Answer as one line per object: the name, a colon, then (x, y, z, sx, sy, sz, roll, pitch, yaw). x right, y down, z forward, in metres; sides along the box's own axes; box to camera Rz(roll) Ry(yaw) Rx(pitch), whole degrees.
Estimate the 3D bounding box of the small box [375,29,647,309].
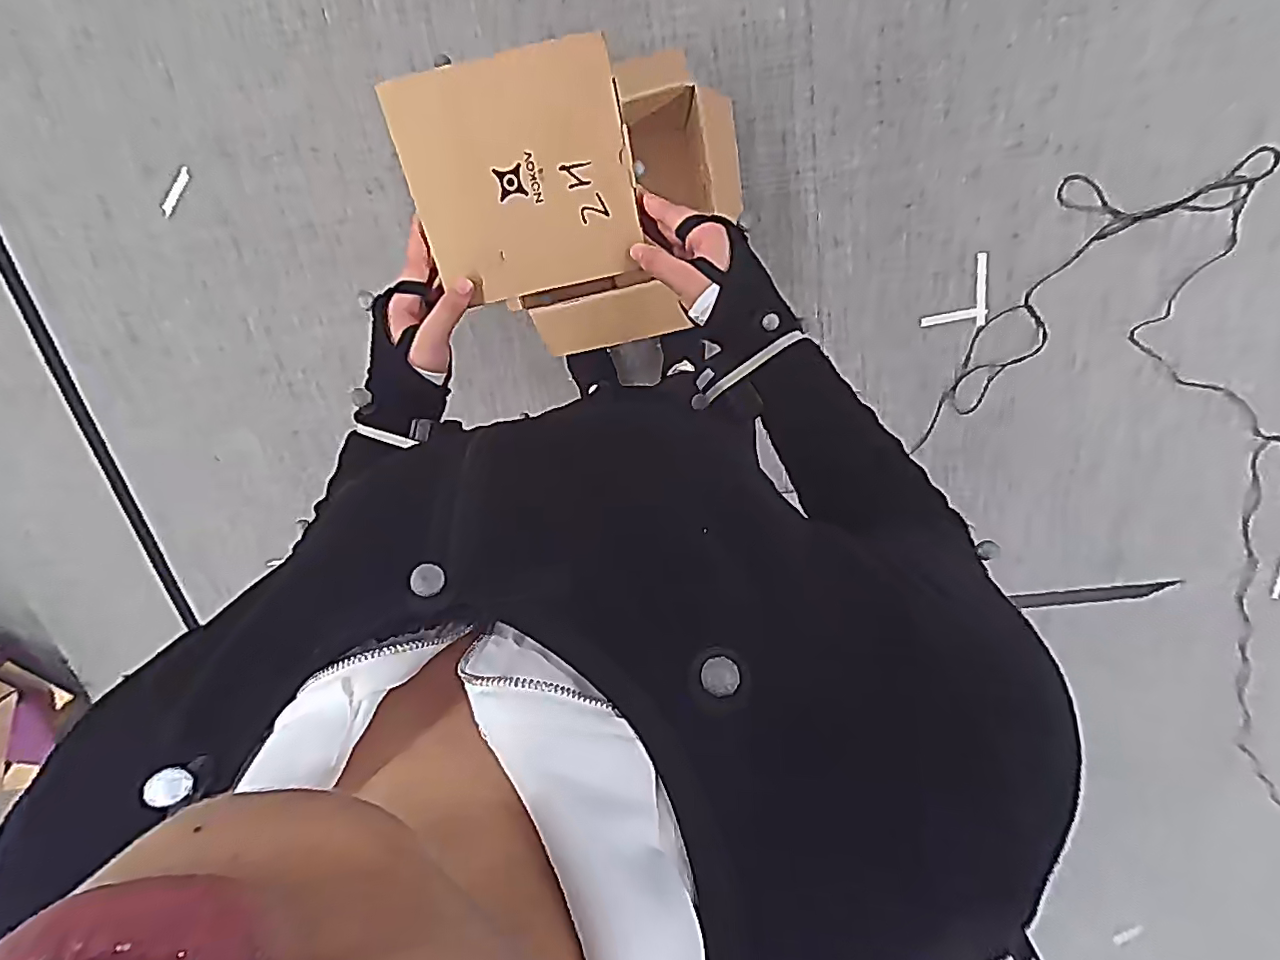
small box: (-0.095, -0.262, 0.488, 0.179, 0.176, 0.168, -11, 115, 2)
